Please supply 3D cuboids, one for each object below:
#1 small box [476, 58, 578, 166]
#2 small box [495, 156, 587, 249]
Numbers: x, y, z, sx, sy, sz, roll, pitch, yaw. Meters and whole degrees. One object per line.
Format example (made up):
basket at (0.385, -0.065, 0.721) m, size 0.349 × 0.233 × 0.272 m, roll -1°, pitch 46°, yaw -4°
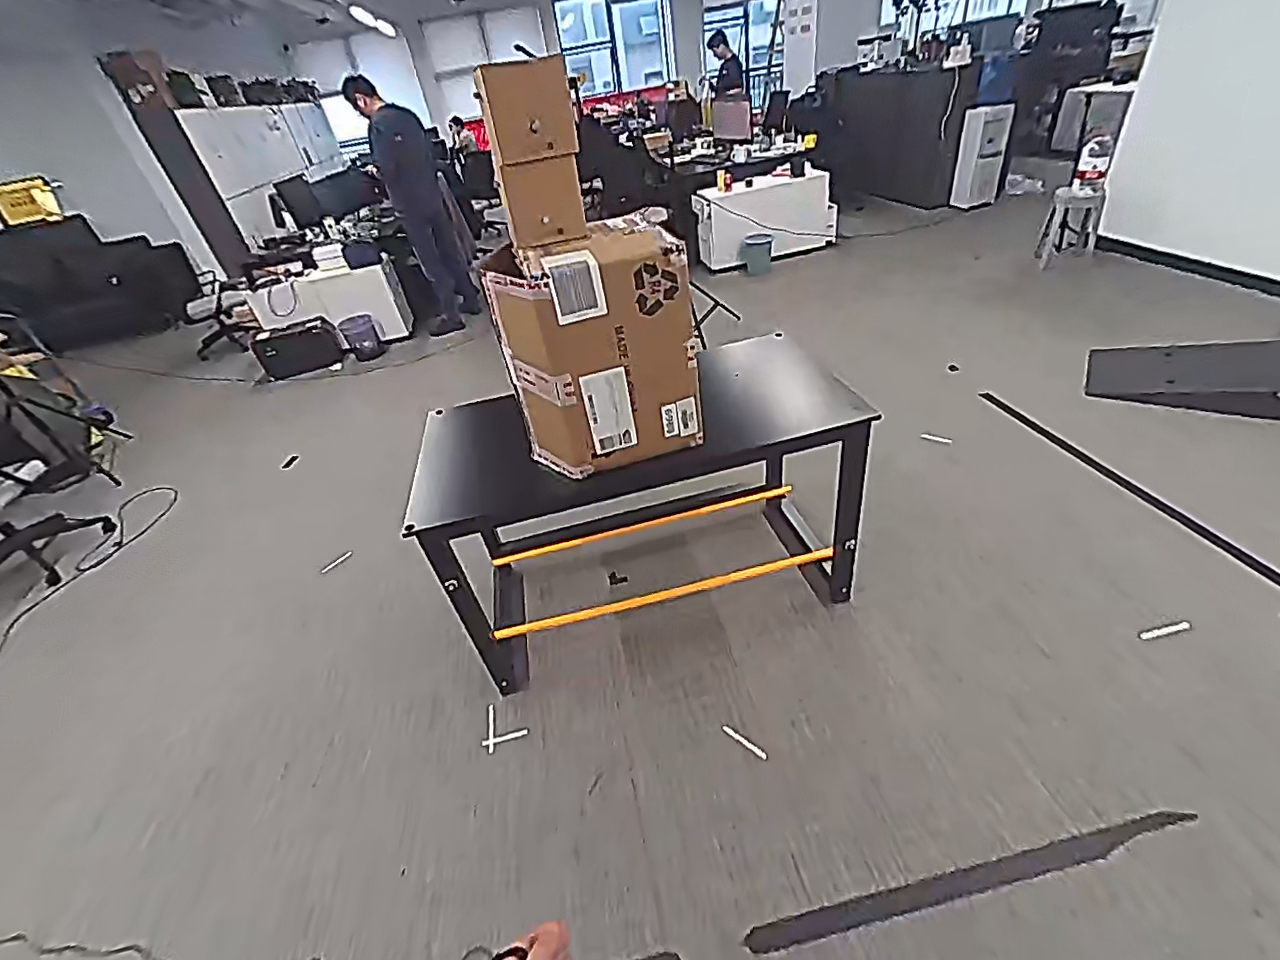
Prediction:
small box at (-0.242, -0.778, 1.154) m, size 0.168 × 0.176 × 0.179 m, roll -17°, pitch 35°, yaw -11°
small box at (-0.229, -0.646, 1.253) m, size 0.168 × 0.176 × 0.179 m, roll -16°, pitch 36°, yaw -10°
